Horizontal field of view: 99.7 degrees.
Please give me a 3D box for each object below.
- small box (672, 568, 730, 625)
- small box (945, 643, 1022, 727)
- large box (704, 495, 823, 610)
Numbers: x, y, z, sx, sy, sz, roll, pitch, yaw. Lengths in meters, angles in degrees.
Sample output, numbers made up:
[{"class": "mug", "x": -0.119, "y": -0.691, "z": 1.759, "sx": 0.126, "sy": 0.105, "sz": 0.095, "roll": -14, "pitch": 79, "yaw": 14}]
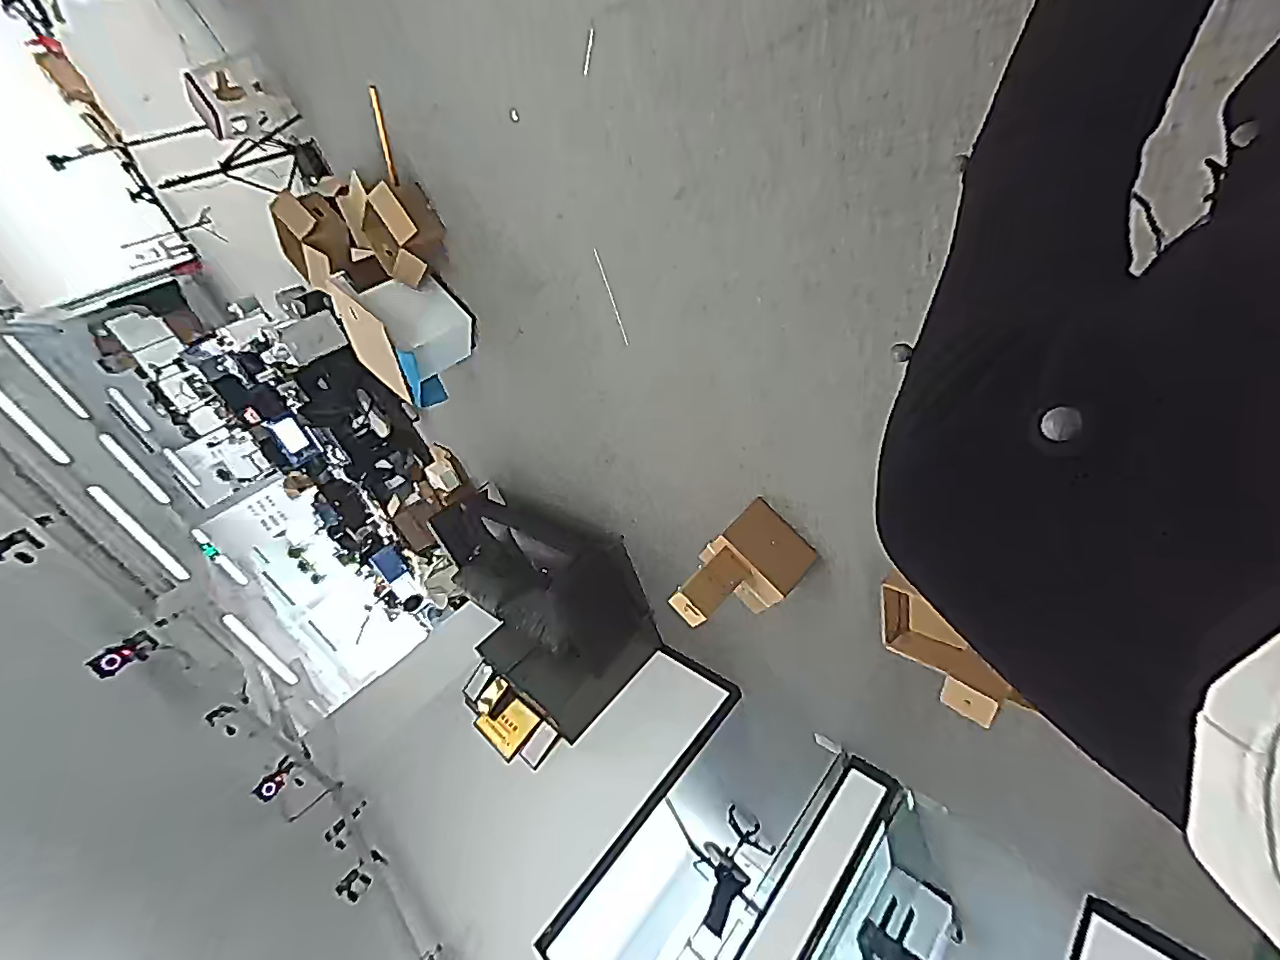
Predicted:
[{"class": "small box", "x": 0.277, "y": 0.518, "z": 2.419, "sx": 0.168, "sy": 0.176, "sz": 0.179, "roll": 45, "pitch": 151, "yaw": 8}, {"class": "small box", "x": 1.204, "y": 0.715, "z": 1.895, "sx": 0.168, "sy": 0.176, "sz": 0.179, "roll": 28, "pitch": 143, "yaw": 40}, {"class": "large box", "x": 0.594, "y": 0.354, "z": 2.636, "sx": 0.408, "sy": 0.320, "sz": 0.320, "roll": 44, "pitch": 152, "yaw": 9}]
